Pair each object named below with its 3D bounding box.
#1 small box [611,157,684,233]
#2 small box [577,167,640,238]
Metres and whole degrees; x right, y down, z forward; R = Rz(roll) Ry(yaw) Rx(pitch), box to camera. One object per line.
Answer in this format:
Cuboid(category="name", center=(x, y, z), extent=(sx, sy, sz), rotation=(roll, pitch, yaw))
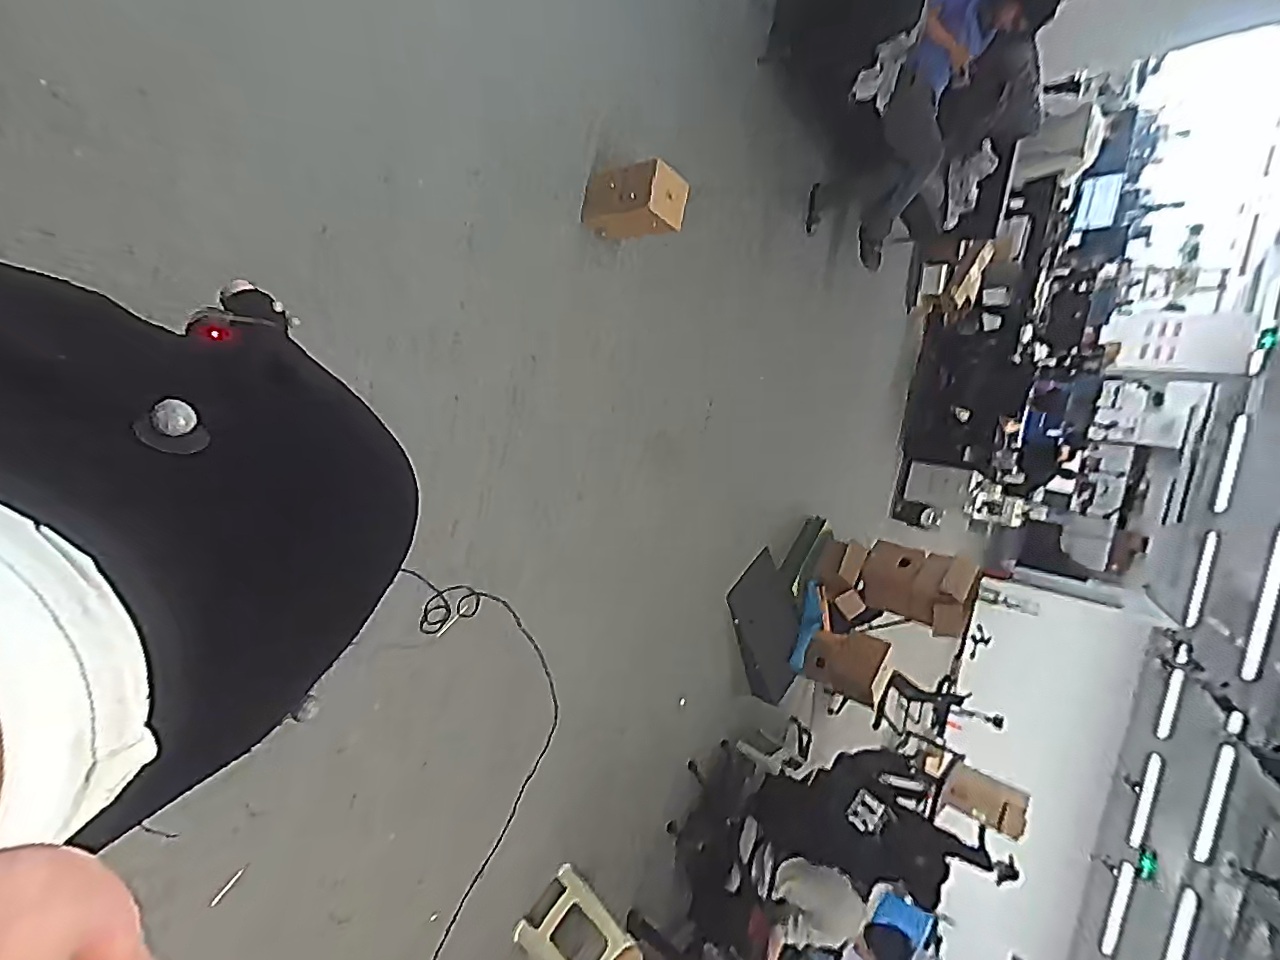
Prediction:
Cuboid(category="small box", center=(0.022, -0.970, 1.858), extent=(0.179, 0.176, 0.168), rotation=(7, 95, -51))
Cuboid(category="small box", center=(-0.100, -0.996, 1.962), extent=(0.179, 0.176, 0.168), rotation=(11, 91, -50))
